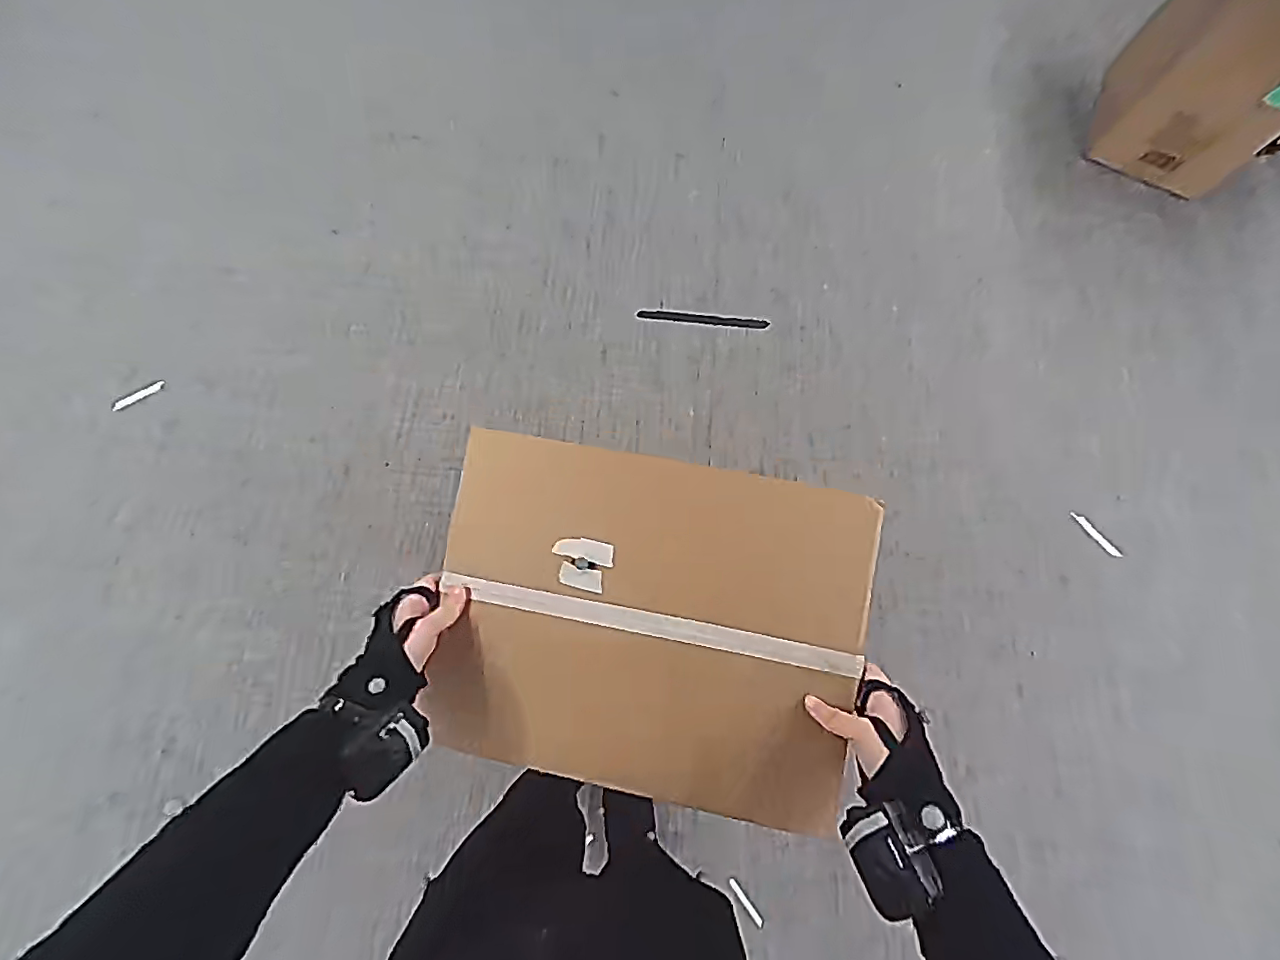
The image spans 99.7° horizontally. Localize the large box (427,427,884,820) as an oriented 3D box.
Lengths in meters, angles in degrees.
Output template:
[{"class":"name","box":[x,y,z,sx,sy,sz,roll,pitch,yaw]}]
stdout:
[{"class":"large box","box":[0.026,0.136,0.661,0.408,0.320,0.320,10,86,7]}]
